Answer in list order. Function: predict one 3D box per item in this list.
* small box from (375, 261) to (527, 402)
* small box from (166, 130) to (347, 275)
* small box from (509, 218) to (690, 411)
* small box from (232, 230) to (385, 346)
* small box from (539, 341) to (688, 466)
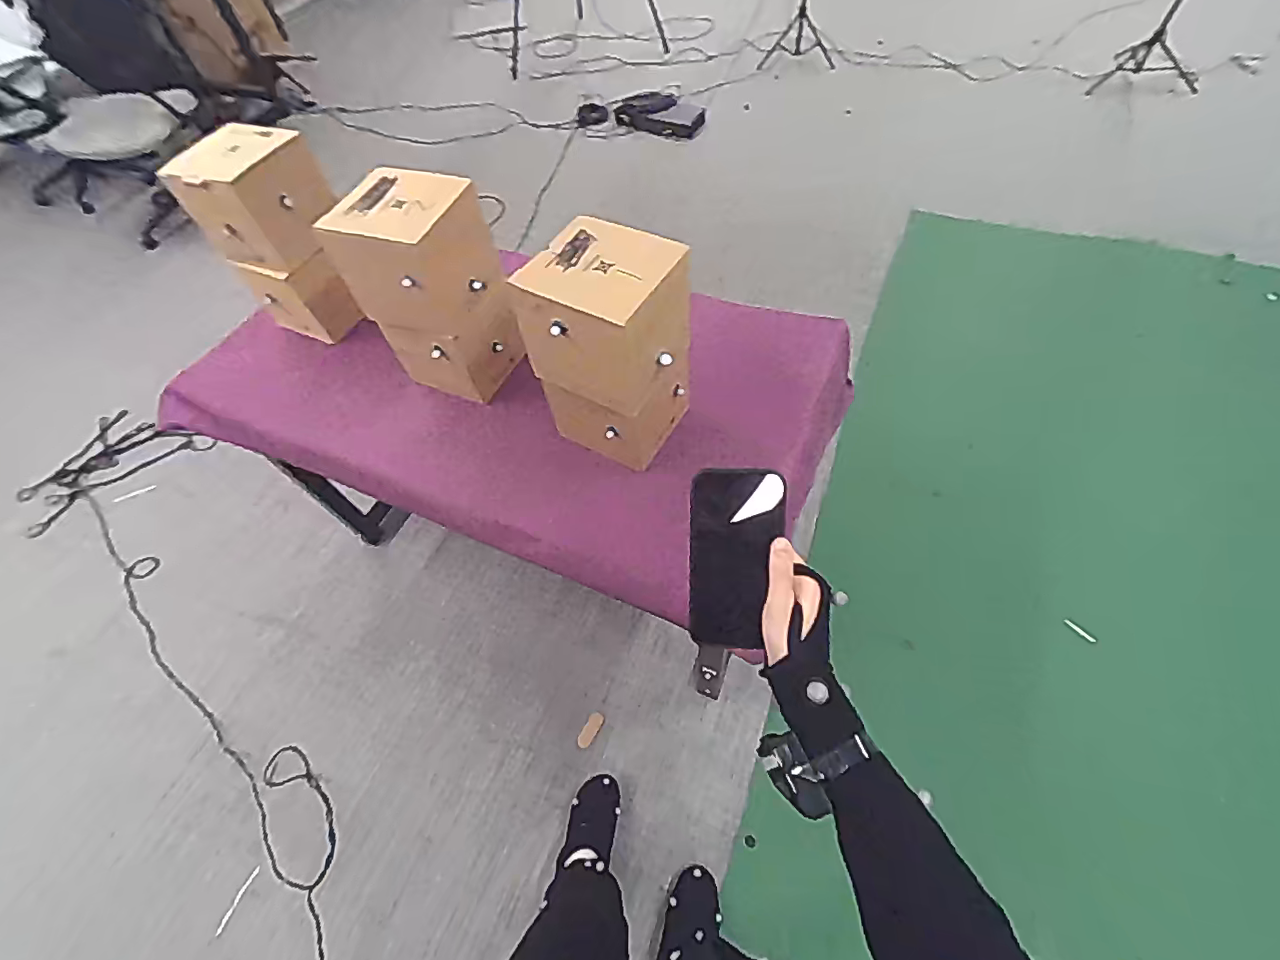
[{"bbox_3d":[-0.333,-0.268,0.995,0.179,0.176,0.168,20,60,18],"label":"small box"},{"bbox_3d":[-0.684,-0.505,0.991,0.168,0.176,0.179,16,60,15],"label":"small box"},{"bbox_3d":[-0.045,-0.222,0.742,0.179,0.176,0.168,25,62,20],"label":"small box"},{"bbox_3d":[-0.674,-0.408,1.124,0.168,0.176,0.179,20,61,18],"label":"small box"},{"bbox_3d":[-0.033,-0.147,0.888,0.179,0.176,0.168,25,62,21],"label":"small box"}]
